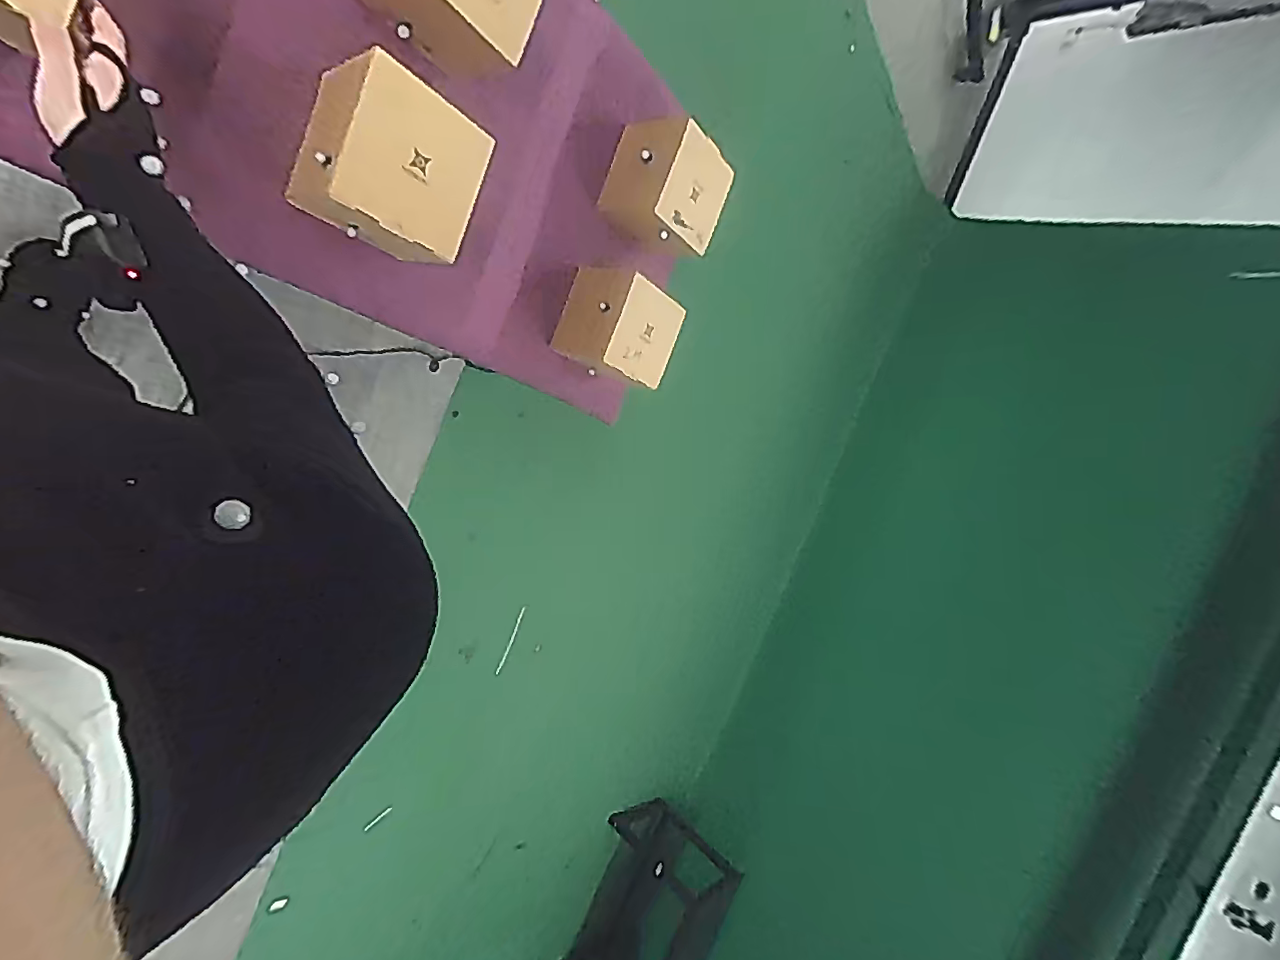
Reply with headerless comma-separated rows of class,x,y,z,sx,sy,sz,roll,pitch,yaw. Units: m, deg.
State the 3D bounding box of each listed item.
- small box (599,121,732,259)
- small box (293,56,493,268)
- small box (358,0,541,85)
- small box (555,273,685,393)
small box,0.046,-0.560,1.062,0.168,0.176,0.179,16,96,-49
small box,-0.333,-0.409,0.723,0.168,0.176,0.179,16,96,-51
small box,-0.241,-0.660,0.699,0.168,0.176,0.179,18,96,-50
small box,-0.045,-0.298,1.087,0.168,0.176,0.179,19,94,-49
